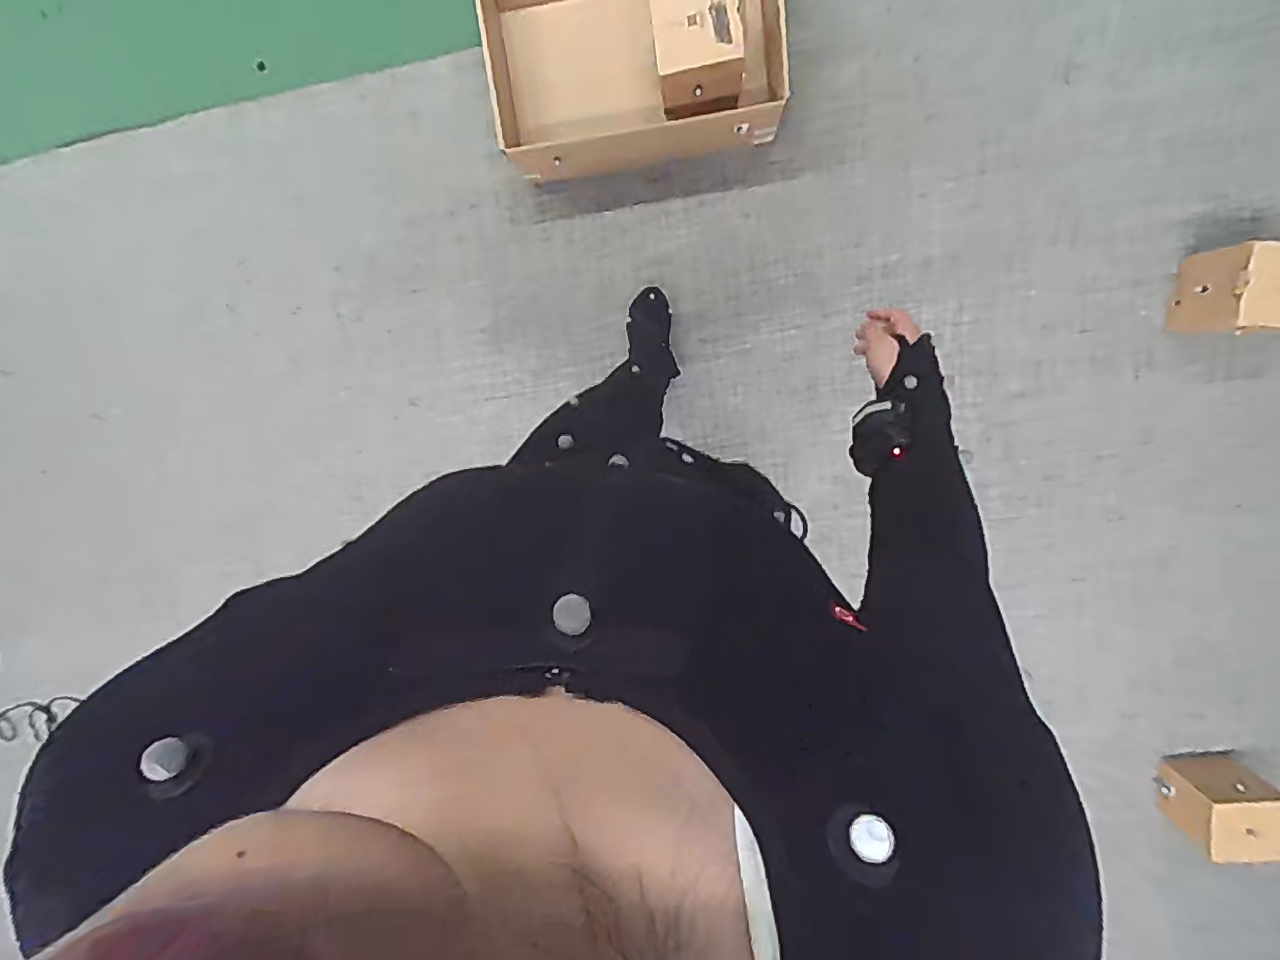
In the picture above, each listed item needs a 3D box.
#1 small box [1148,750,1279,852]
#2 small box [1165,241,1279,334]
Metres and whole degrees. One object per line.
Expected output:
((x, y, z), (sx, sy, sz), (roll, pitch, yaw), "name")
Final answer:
((1.499, 0.836, 1.419), (0.179, 0.176, 0.168), (-7, 100, 8), "small box")
((1.309, -0.409, 1.169), (0.179, 0.176, 0.168), (5, 102, 5), "small box")
